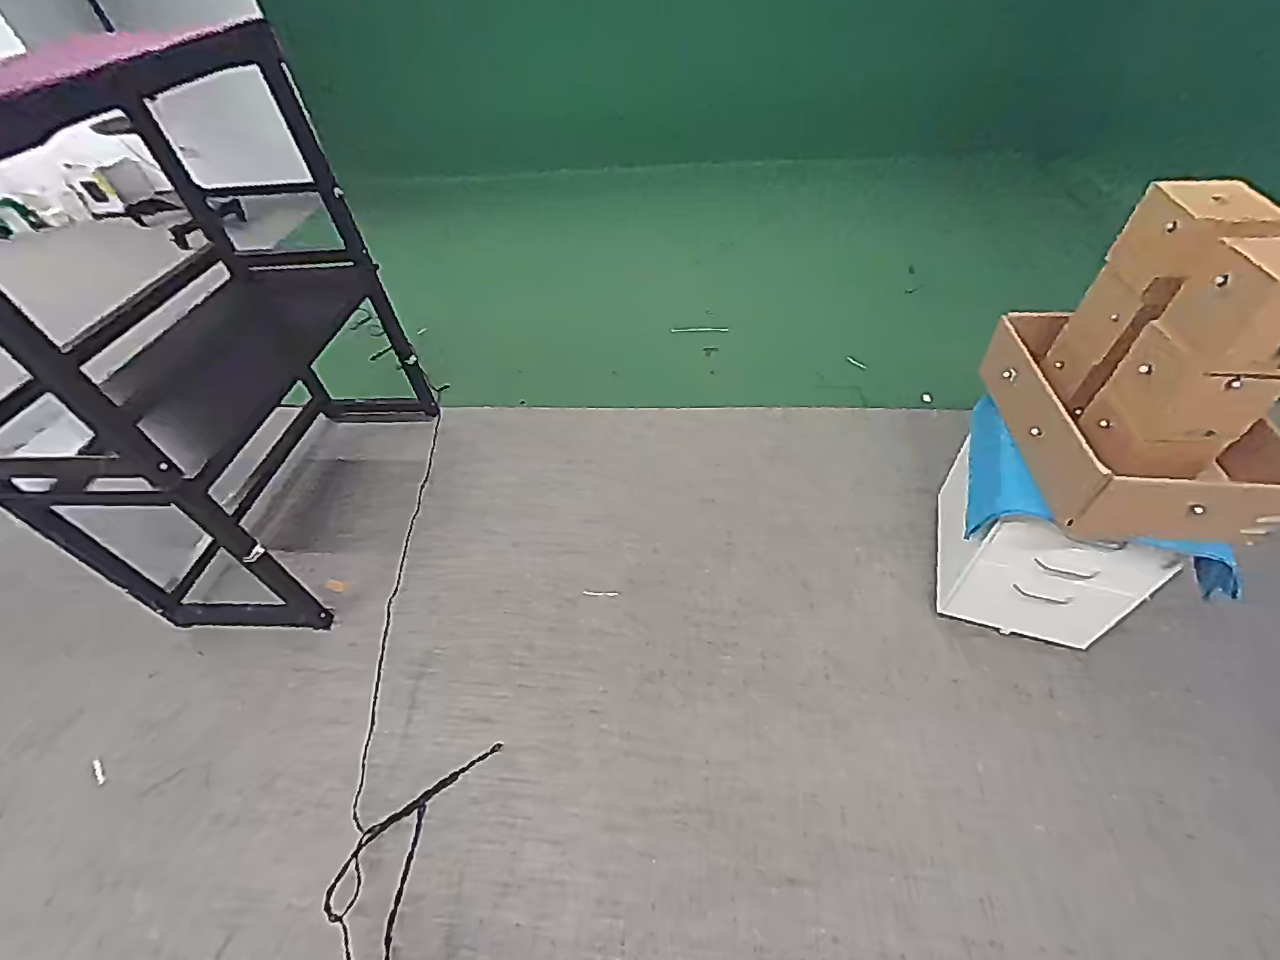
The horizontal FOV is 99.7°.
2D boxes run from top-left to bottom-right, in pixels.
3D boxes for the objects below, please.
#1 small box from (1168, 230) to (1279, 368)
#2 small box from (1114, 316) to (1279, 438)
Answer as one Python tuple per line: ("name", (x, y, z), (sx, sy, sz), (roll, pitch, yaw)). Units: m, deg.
("small box", (1.080, -0.310, 0.926), (0.168, 0.176, 0.179), (3, 47, 9))
("small box", (1.086, -0.202, 1.052), (0.168, 0.176, 0.179), (1, 46, 7))
